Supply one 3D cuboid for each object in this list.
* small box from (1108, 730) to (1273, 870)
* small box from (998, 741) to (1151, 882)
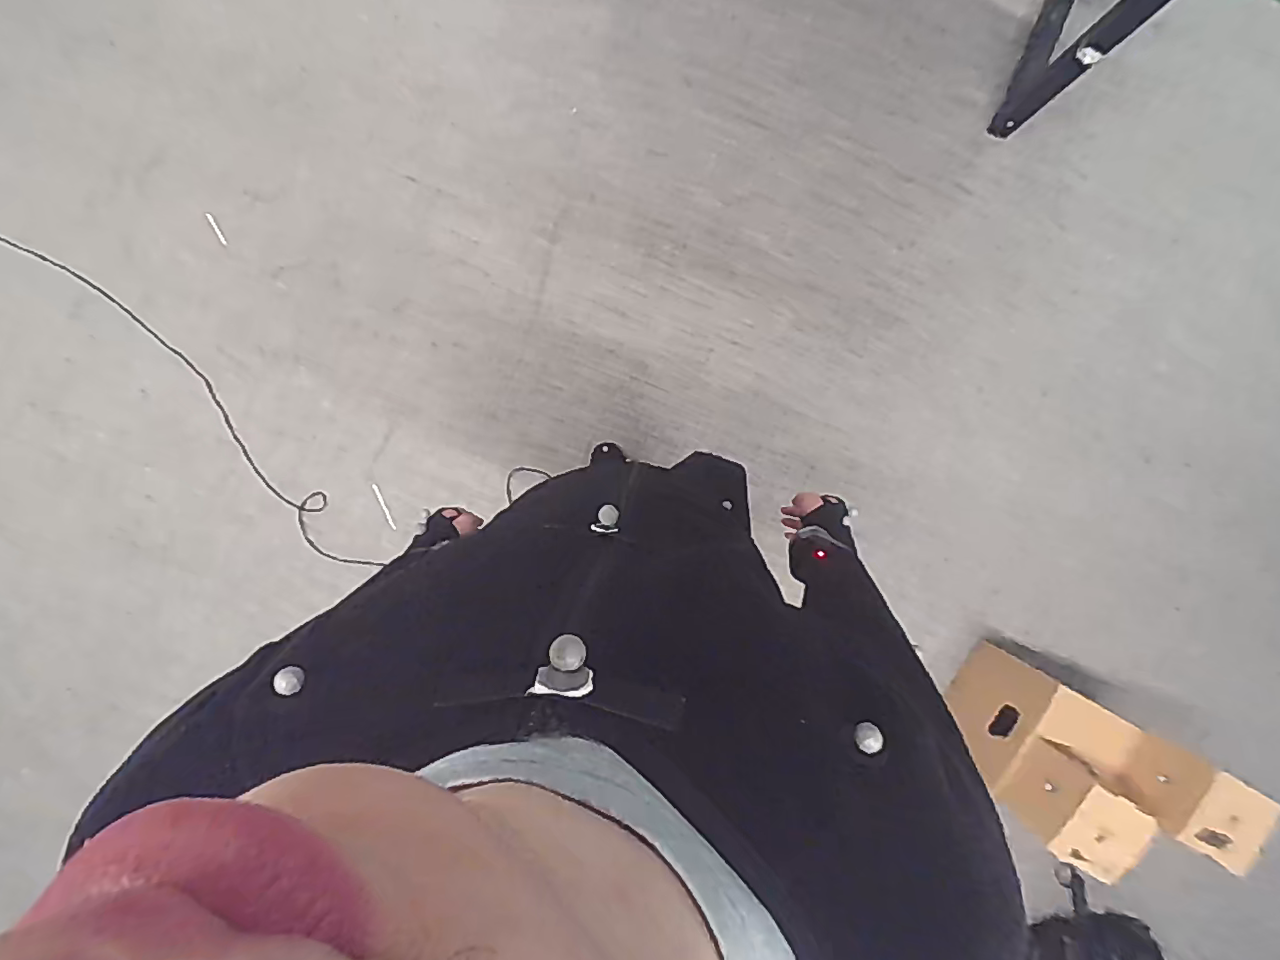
[{"bbox_3d":[1.219,0.708,1.215,0.168,0.176,0.179,31,89,-3],"label":"small box"},{"bbox_3d":[0.957,0.728,1.210,0.168,0.176,0.179,31,94,-4],"label":"small box"}]
